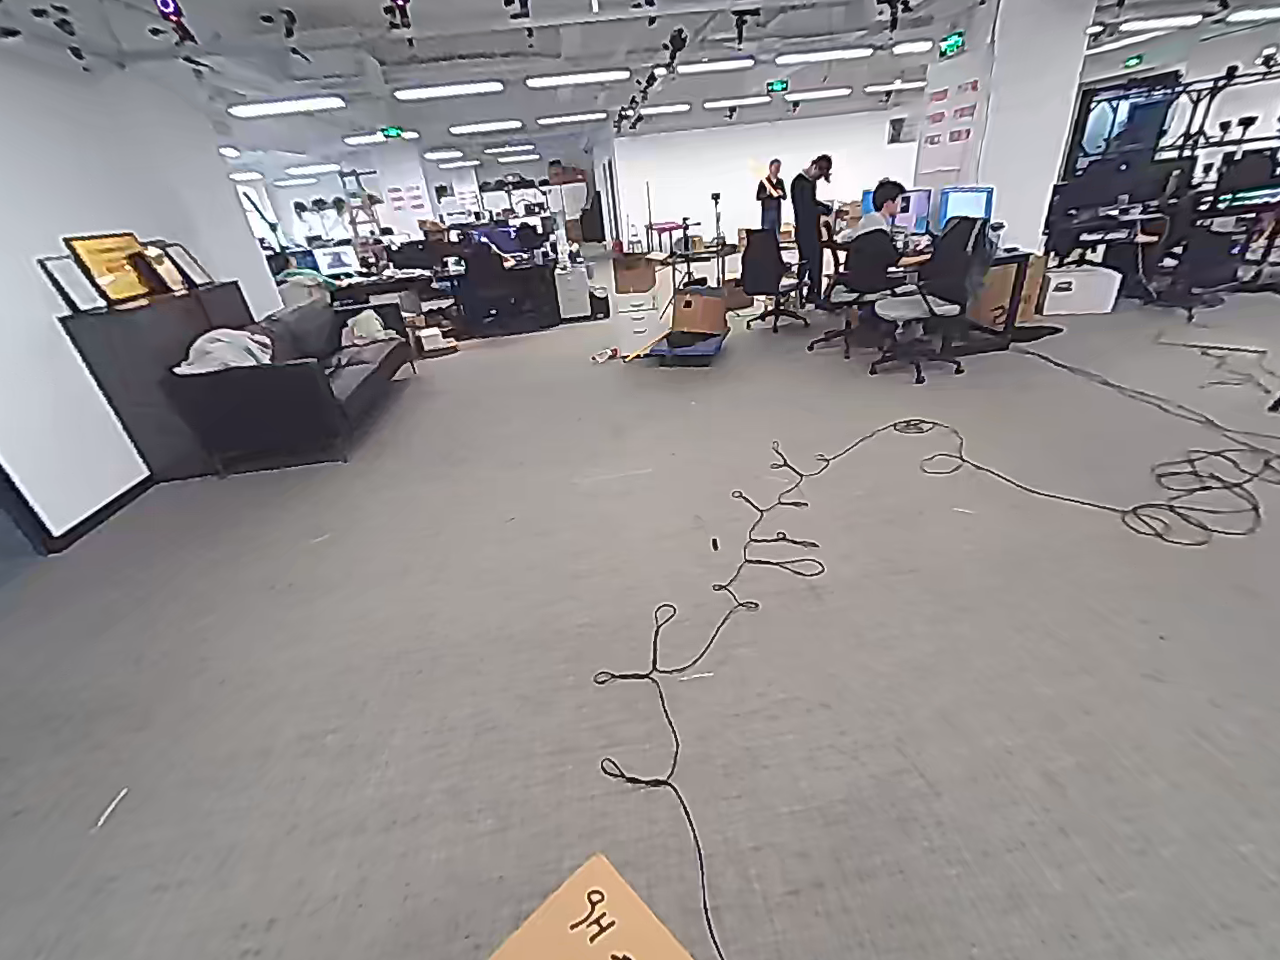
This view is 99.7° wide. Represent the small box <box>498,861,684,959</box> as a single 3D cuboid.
[{"bbox_3d":[-0.021,0.373,0.285,0.179,0.176,0.168,-30,32,-33],"label":"small box"}]
